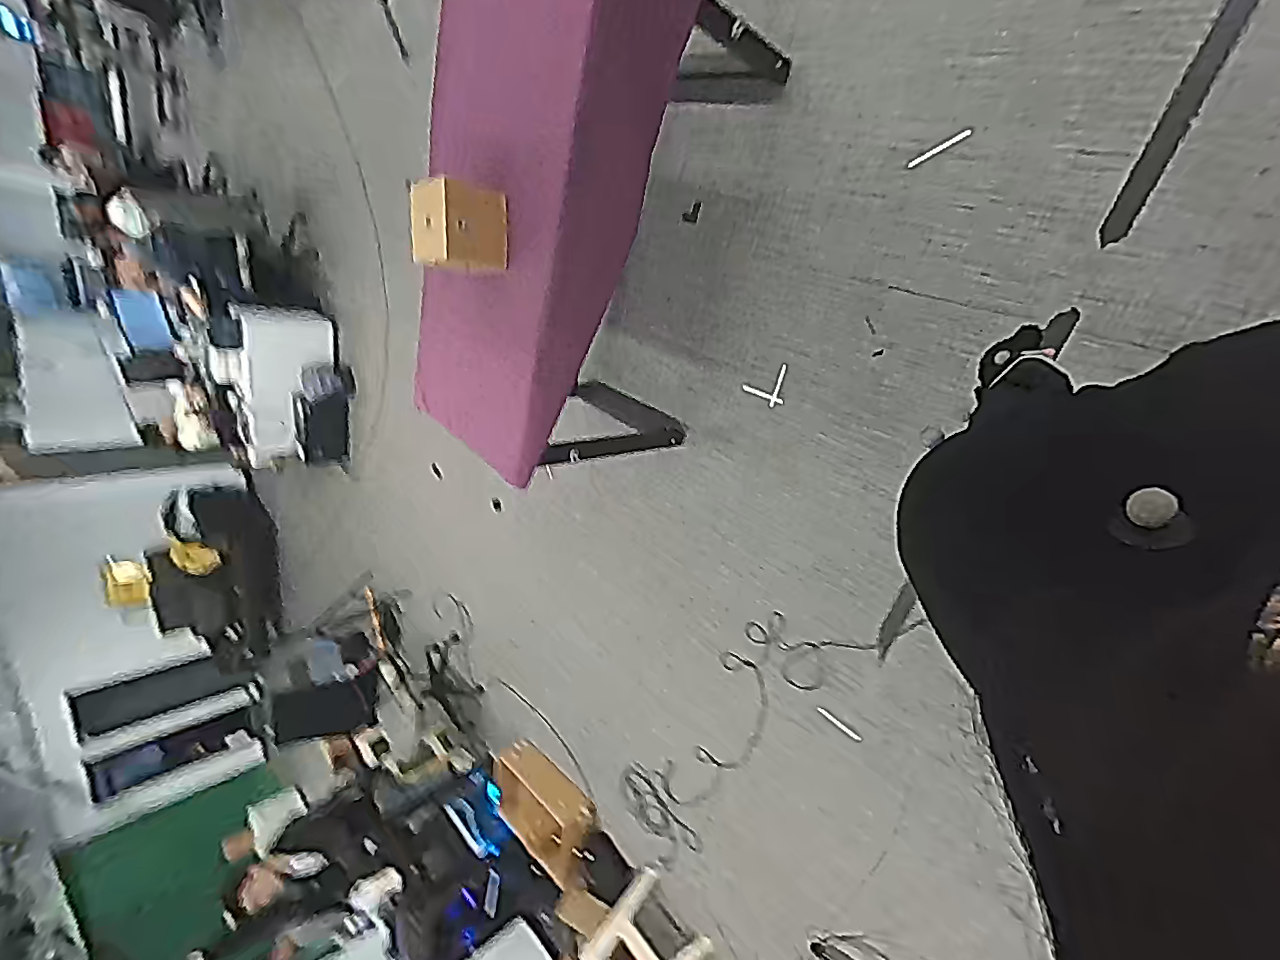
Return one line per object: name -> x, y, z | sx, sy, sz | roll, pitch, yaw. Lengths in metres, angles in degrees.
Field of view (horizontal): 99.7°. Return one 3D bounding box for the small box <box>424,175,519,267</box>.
small box -> -0.413, -0.626, 1.334 | 0.168, 0.176, 0.179 | 16, 109, 41
